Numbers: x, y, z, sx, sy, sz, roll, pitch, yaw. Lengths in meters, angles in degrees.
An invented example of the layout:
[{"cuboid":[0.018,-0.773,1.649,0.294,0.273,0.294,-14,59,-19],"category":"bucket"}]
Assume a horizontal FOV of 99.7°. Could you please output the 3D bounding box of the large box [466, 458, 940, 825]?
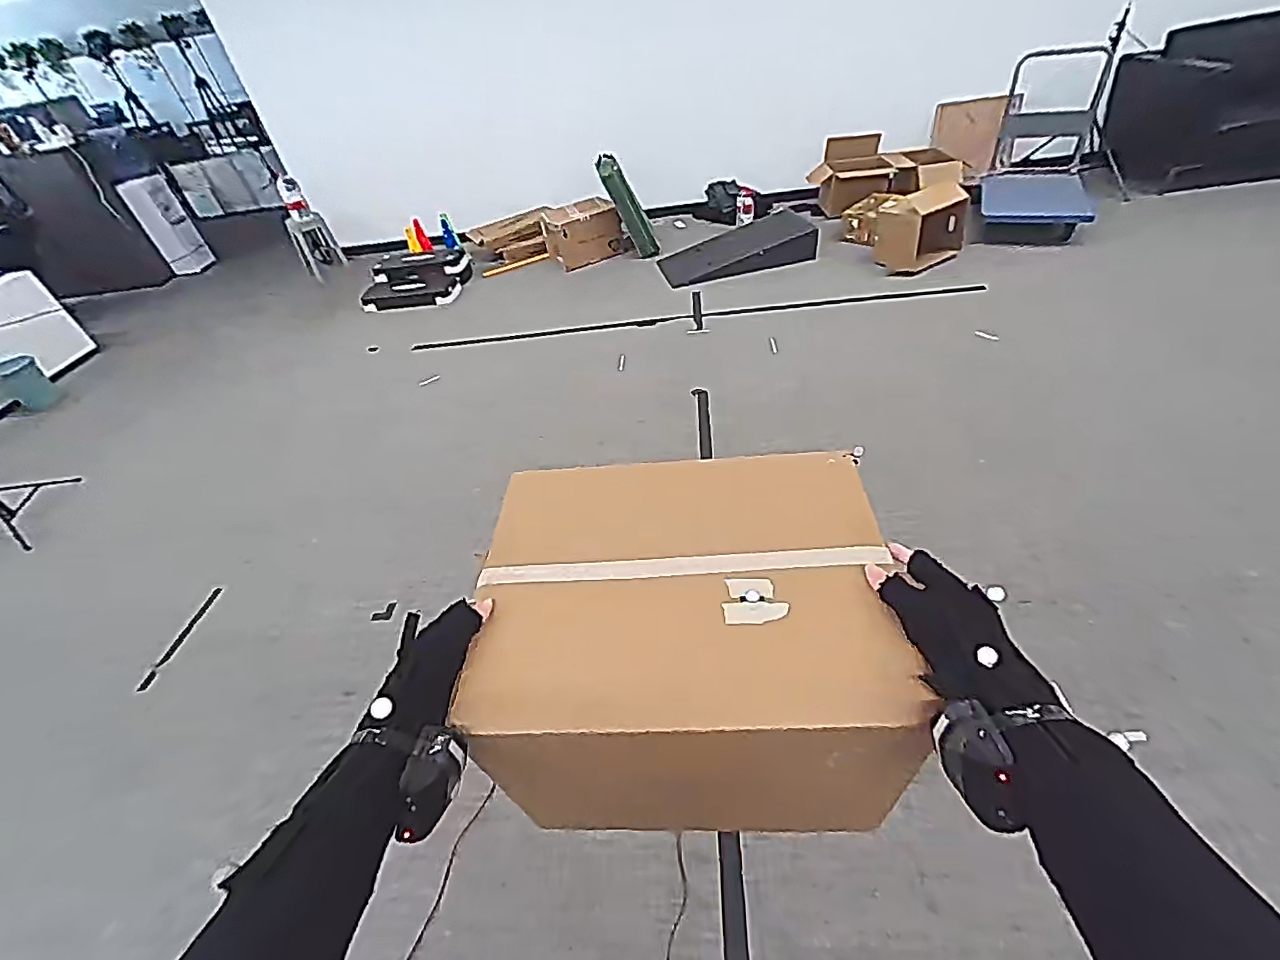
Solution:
[{"cuboid":[0.061,0.198,0.654,0.408,0.320,0.320,-3,45,5],"category":"large box"}]
